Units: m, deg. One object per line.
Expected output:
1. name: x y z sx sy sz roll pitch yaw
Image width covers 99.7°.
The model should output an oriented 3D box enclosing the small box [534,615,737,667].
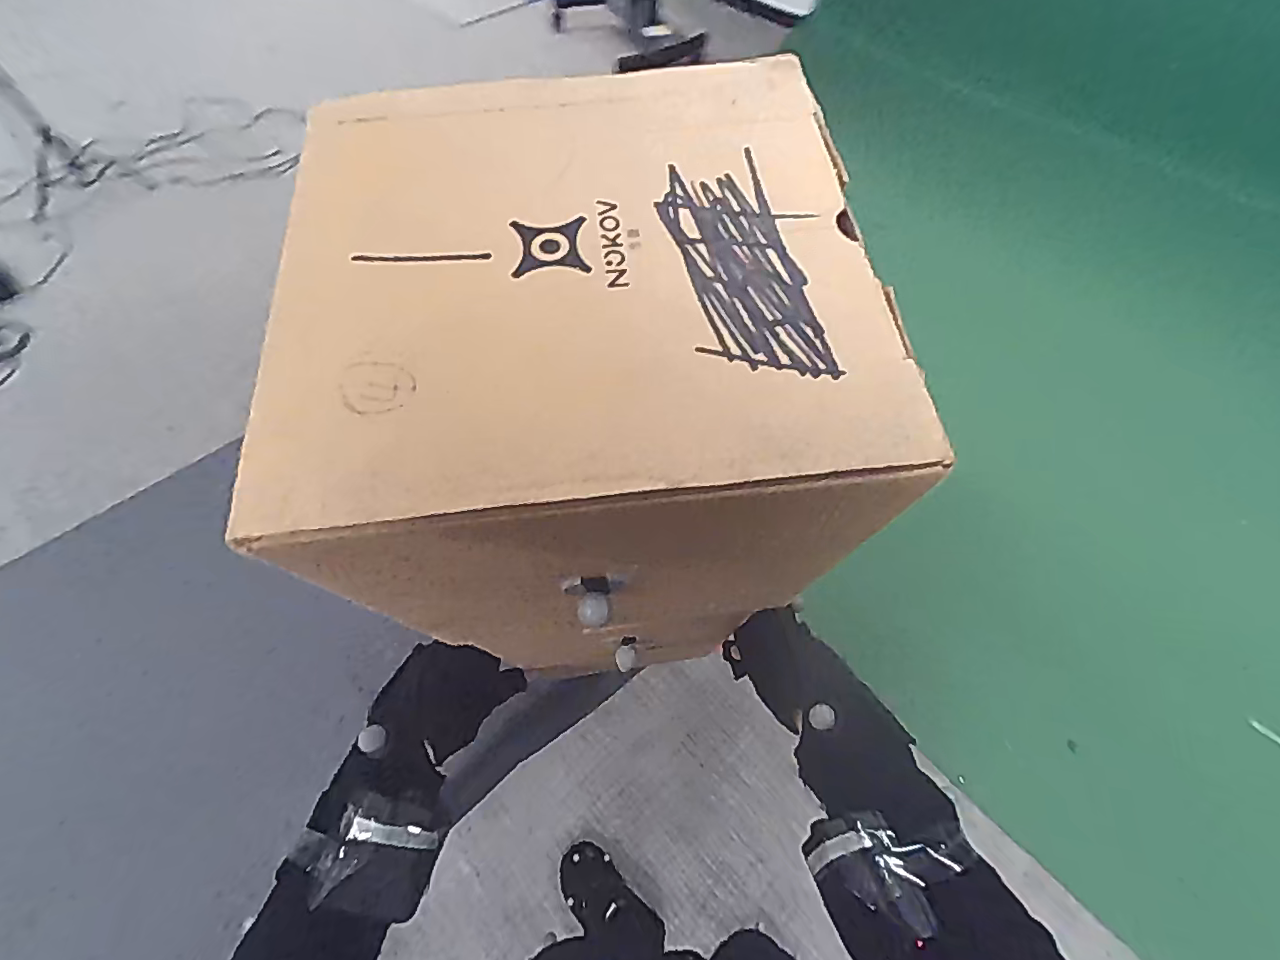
1. small box: -0.016 0.090 0.552 0.179 0.176 0.168 -7 67 -5

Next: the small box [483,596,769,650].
1. small box: -0.016 0.026 0.401 0.168 0.176 0.179 -6 67 -4

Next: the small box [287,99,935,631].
1. small box: -0.013 -0.032 0.246 0.179 0.176 0.168 -5 66 -2
